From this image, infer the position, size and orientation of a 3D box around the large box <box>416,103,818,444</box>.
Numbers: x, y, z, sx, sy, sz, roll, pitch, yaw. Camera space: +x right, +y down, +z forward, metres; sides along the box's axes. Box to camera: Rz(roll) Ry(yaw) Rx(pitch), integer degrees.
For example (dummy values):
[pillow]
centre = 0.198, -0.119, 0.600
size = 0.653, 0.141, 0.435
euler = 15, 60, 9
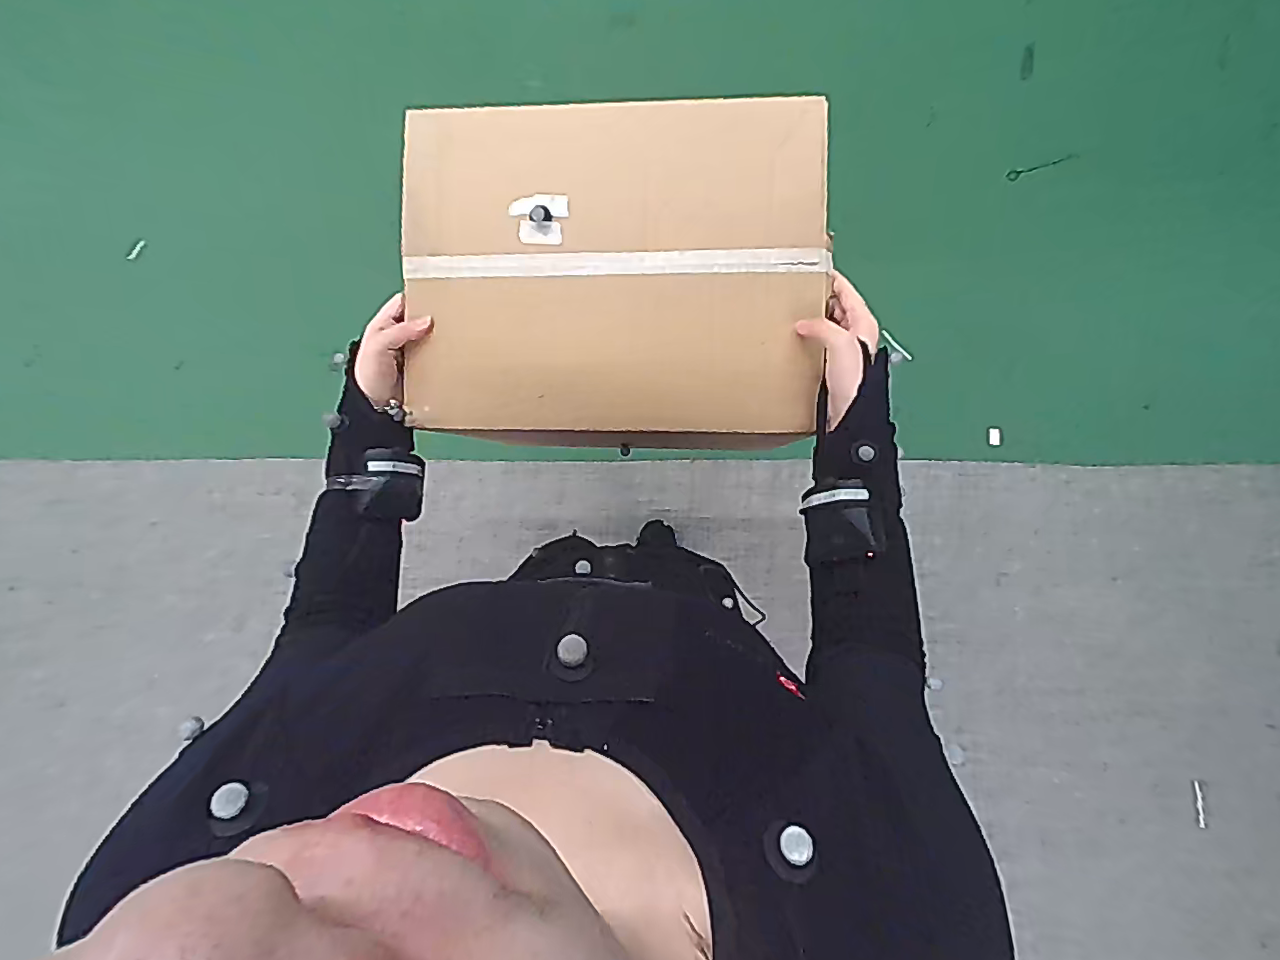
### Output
[large box]
centre = -0.013, -0.205, 0.678
size = 0.408, 0.320, 0.320
euler = 1, 90, 6
